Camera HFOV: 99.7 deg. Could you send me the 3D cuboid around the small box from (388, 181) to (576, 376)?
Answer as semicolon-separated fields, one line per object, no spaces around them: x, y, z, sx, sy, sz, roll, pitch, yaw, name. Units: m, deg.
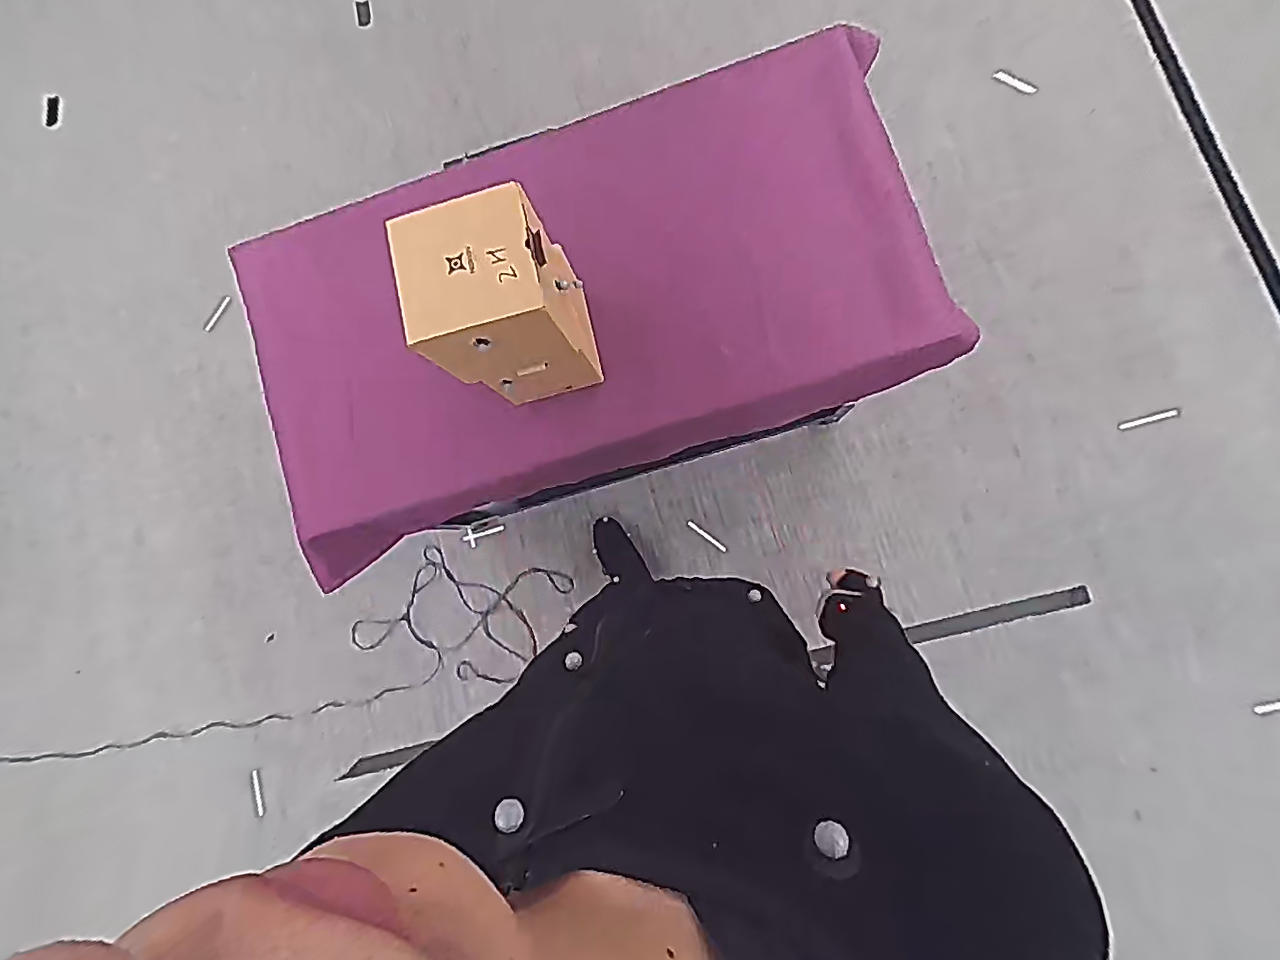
-0.202;-0.254;0.725;0.179;0.176;0.168;-13;83;5;small box
